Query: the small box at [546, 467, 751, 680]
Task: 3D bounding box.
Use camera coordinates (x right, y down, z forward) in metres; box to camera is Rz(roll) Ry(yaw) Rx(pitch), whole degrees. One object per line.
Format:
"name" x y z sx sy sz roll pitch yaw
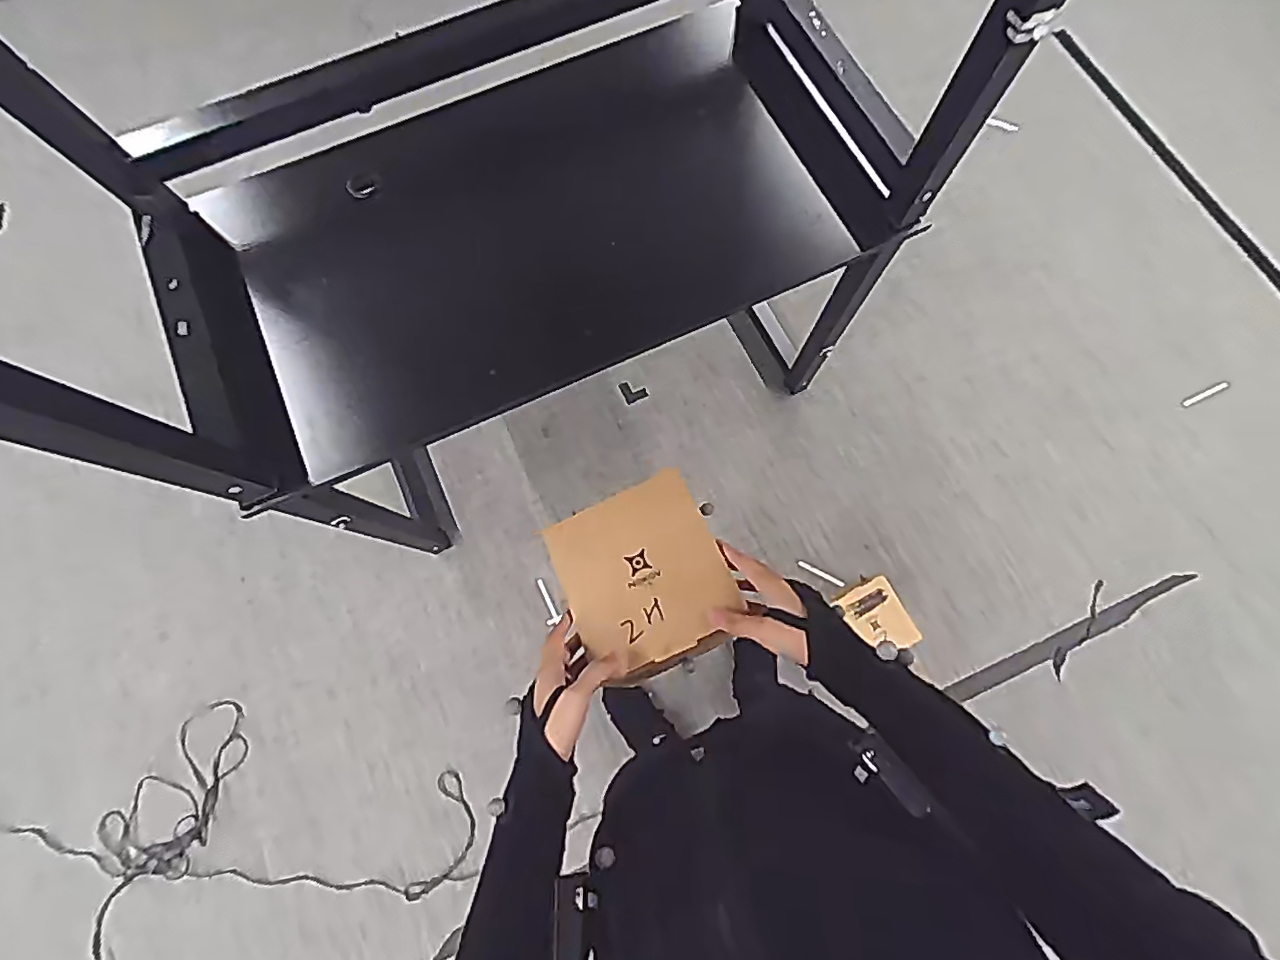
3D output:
"small box" 0.014 0.117 0.623 0.168 0.176 0.179 -24 68 1
